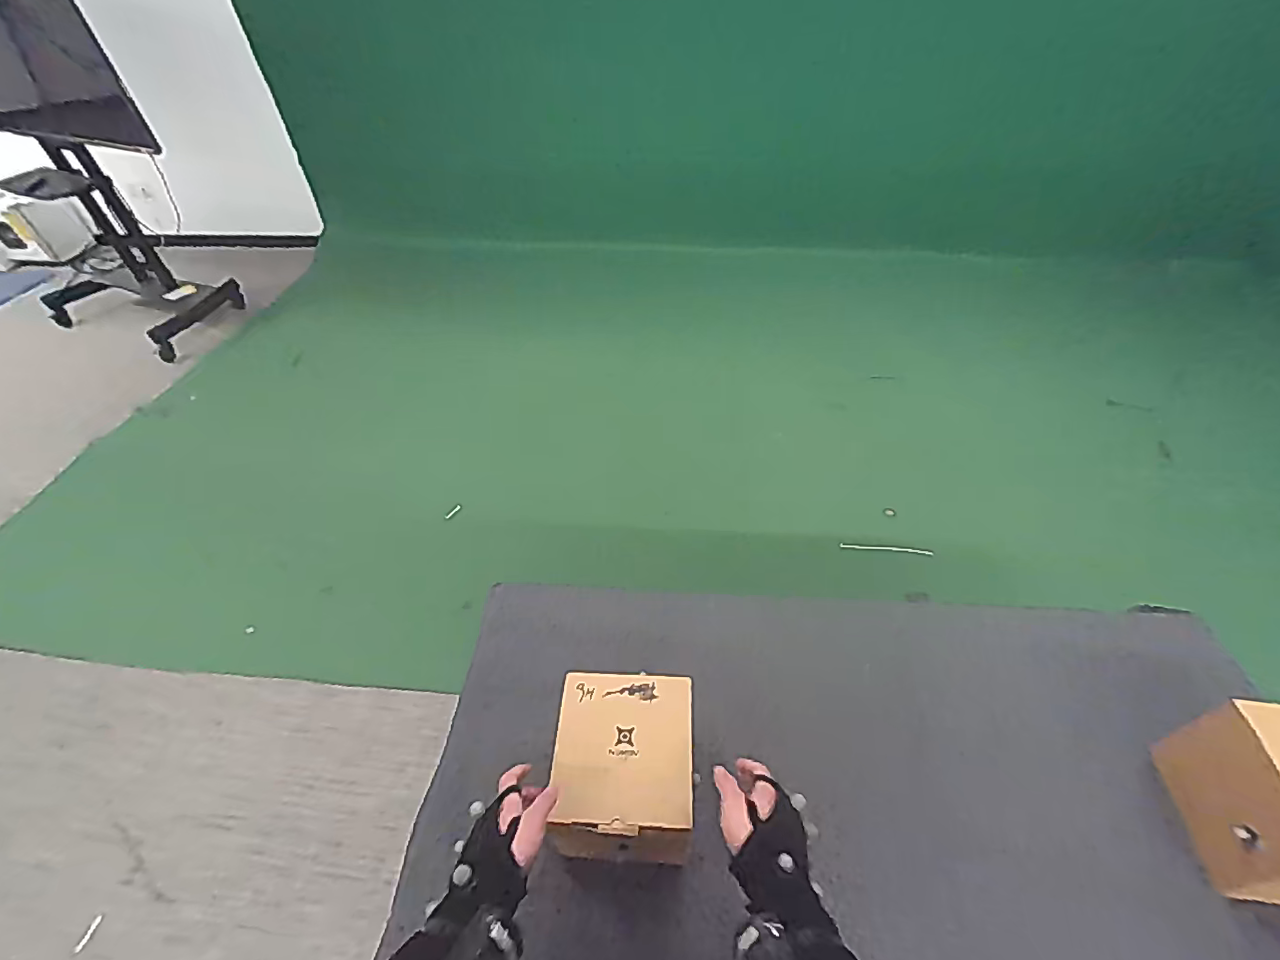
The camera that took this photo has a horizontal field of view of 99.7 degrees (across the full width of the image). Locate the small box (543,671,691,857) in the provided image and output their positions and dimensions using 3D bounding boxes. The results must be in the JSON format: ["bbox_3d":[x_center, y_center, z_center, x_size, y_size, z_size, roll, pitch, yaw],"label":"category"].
[{"bbox_3d":[-0.018,0.369,0.701,0.168,0.176,0.179,1,45,3],"label":"small box"}]

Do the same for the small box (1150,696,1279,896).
[{"bbox_3d":[0.787,0.387,0.646,0.168,0.176,0.179,5,44,6],"label":"small box"}]
